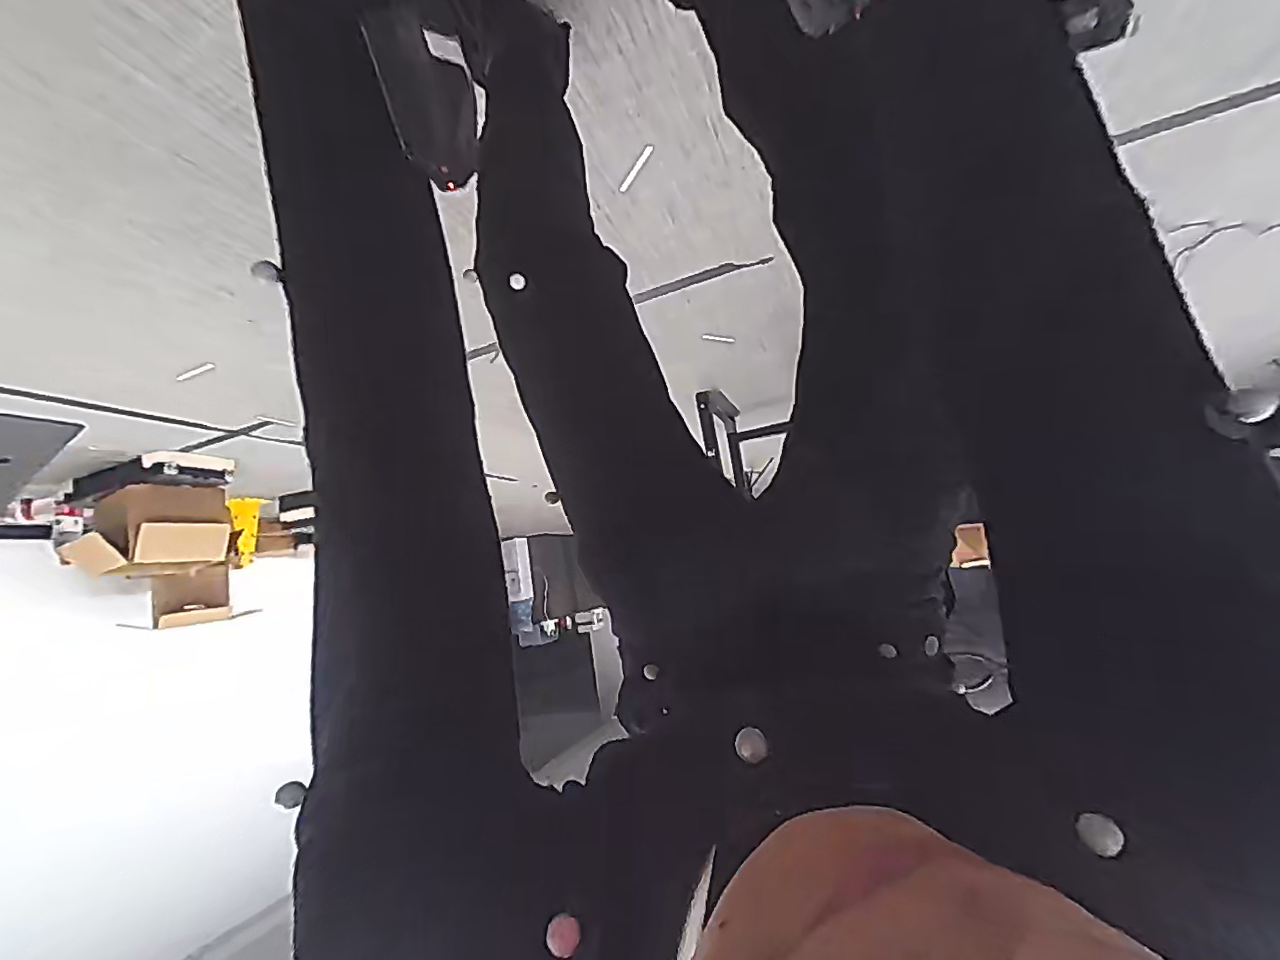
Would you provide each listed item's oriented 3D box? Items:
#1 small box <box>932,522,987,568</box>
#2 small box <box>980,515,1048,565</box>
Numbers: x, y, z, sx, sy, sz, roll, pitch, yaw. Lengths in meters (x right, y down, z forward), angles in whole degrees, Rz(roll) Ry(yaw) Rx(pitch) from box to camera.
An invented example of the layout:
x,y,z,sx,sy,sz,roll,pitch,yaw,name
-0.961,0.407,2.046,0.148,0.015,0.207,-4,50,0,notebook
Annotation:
x,y,z,sx,sy,sz,roll,pitch,yaw,name
1.353,0.272,2.275,0.168,0.176,0.179,-11,170,13,small box
1.389,0.224,2.020,0.168,0.176,0.179,-11,170,23,small box
